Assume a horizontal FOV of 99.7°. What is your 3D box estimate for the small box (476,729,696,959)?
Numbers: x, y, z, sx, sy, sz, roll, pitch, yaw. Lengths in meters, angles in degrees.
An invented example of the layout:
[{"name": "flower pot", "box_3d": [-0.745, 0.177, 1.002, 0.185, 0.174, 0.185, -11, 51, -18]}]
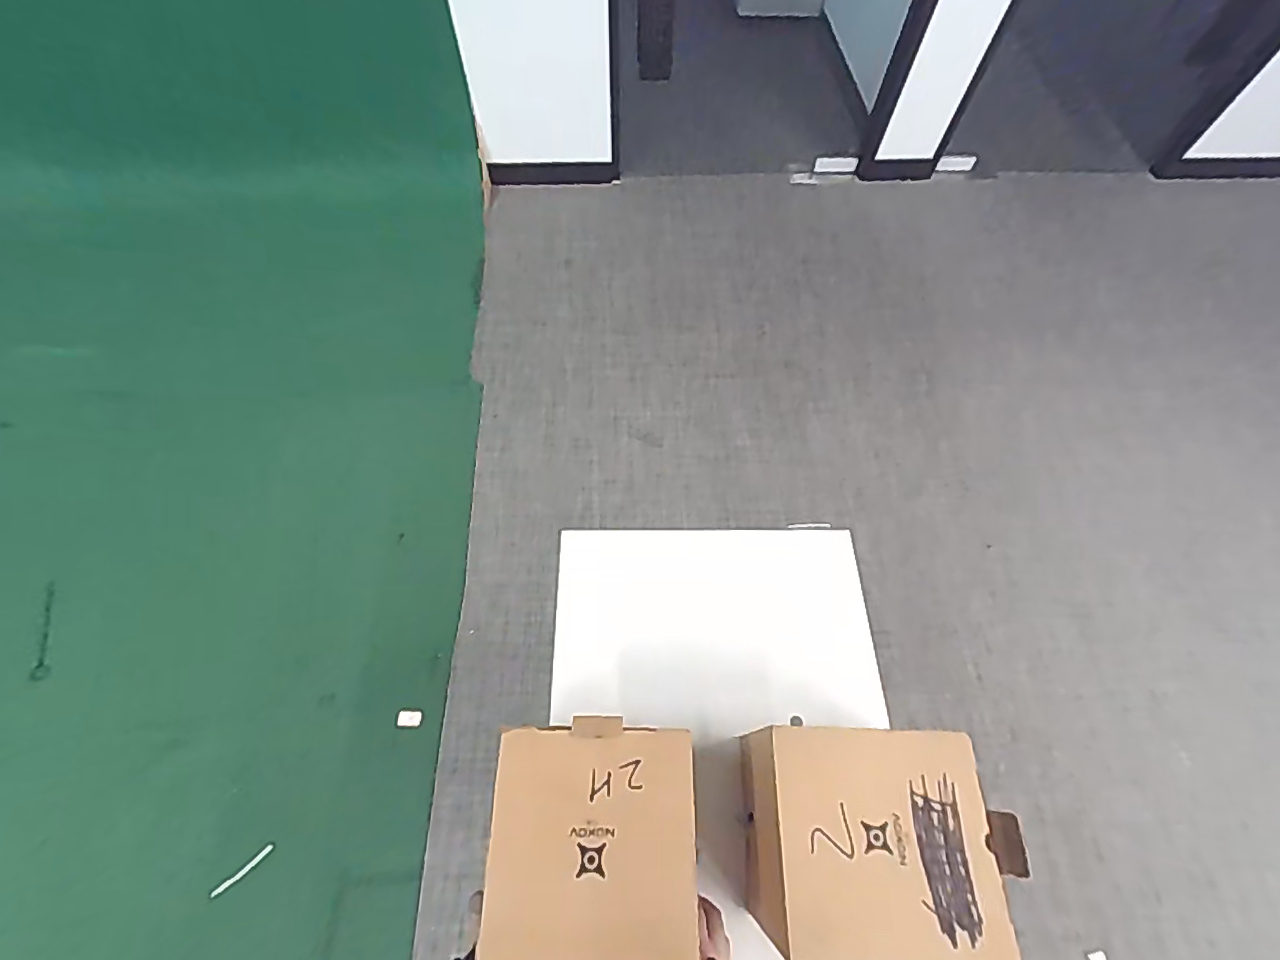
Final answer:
[{"name": "small box", "box_3d": [-0.041, 0.331, 0.498, 0.168, 0.176, 0.179, 2, 61, -2]}]
